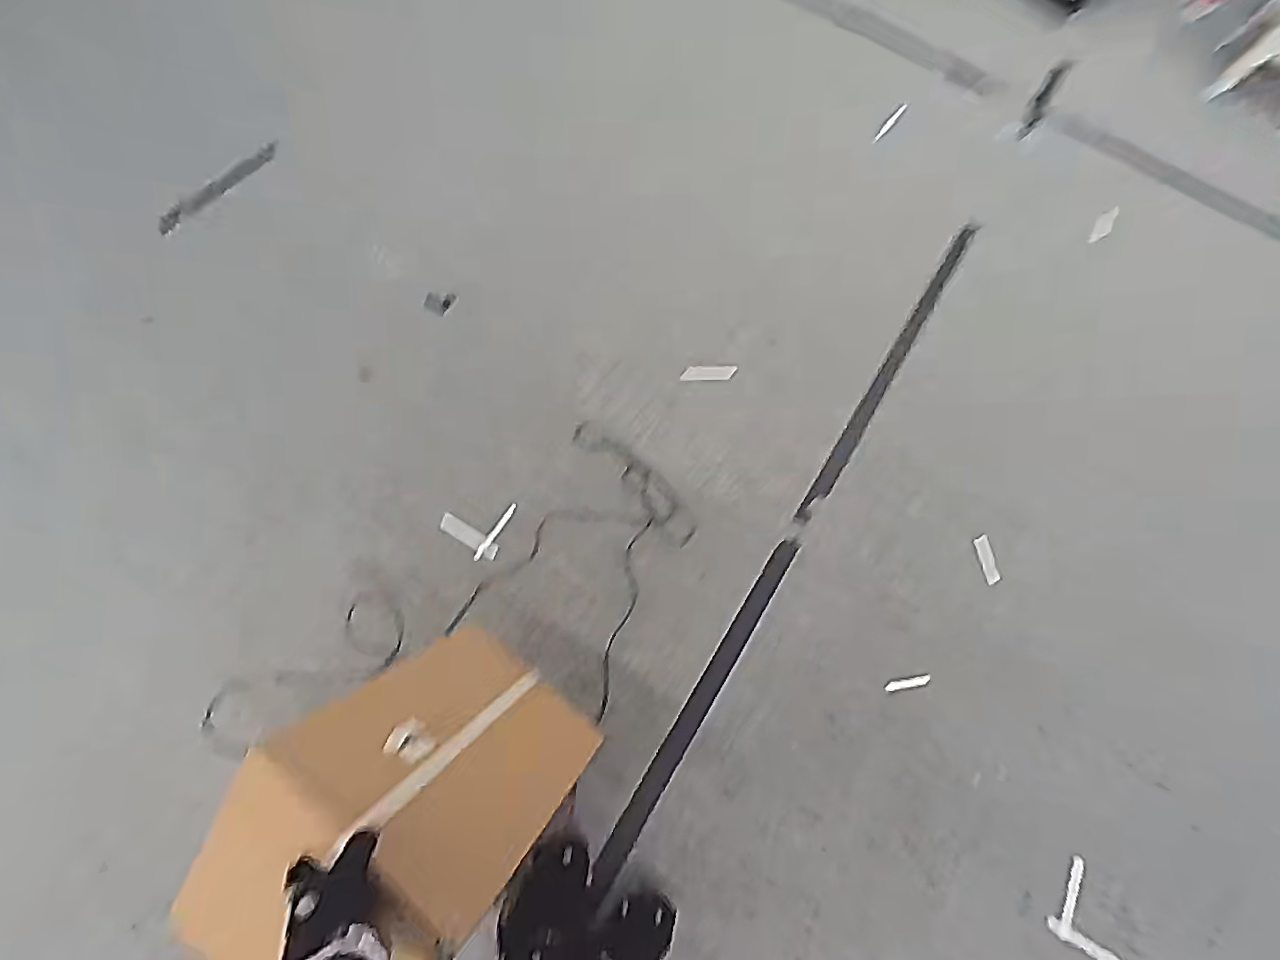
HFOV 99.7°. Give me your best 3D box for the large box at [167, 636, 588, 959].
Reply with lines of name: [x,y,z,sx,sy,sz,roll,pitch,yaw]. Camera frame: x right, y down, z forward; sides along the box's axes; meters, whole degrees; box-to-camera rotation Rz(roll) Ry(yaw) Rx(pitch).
large box: [-0.340,0.505,0.794,0.320,0.408,0.320,34,104,12]
